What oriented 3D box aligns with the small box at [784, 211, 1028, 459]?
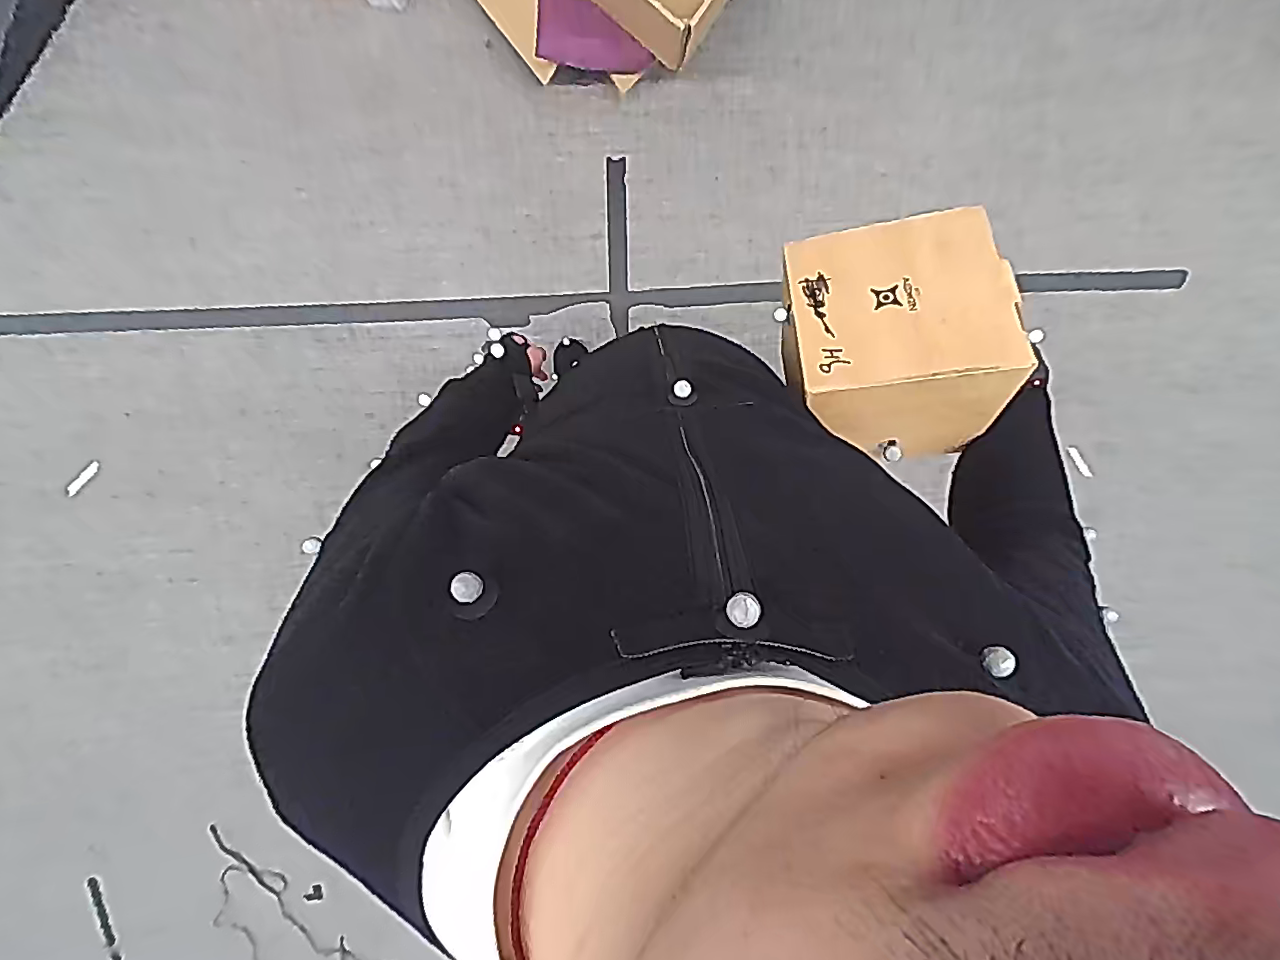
[{"bbox_3d":[0.245,-0.133,0.551,0.179,0.176,0.168,-6,67,12],"label":"small box"}]
